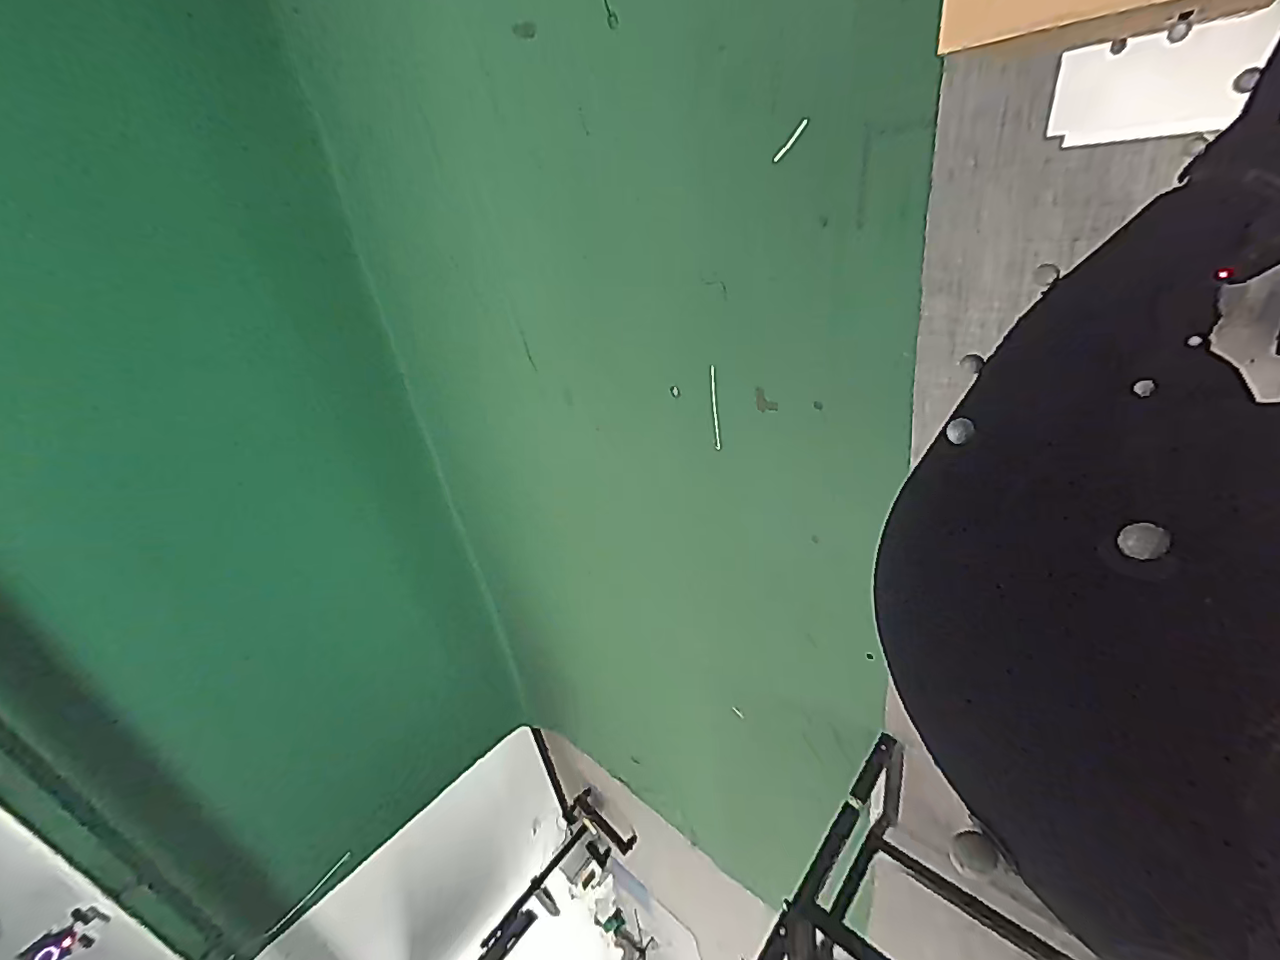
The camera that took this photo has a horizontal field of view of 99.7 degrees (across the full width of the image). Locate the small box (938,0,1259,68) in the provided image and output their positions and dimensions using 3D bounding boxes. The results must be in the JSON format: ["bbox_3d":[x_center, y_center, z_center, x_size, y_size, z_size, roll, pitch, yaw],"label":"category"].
[{"bbox_3d":[0.328,-0.396,0.359,0.179,0.176,0.168,17,126,39],"label":"small box"}]
